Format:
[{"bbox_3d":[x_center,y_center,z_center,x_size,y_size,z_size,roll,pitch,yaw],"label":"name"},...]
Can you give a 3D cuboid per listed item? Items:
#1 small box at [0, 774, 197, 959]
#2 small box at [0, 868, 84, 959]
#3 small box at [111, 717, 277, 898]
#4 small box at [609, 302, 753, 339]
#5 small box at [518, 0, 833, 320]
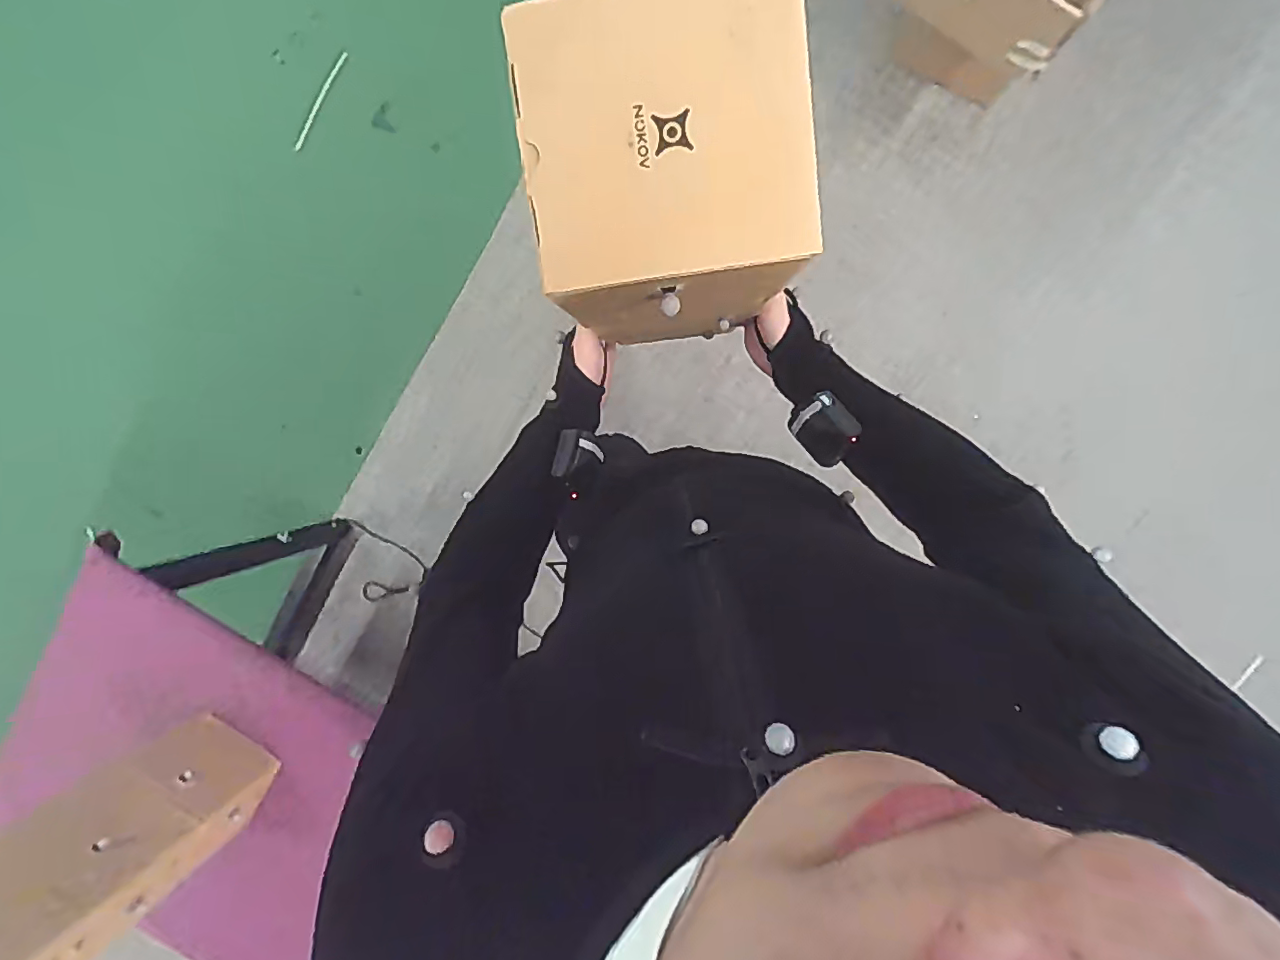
[{"bbox_3d":[-0.801,0.569,0.776,0.179,0.176,0.168,32,96,0],"label":"small box"},{"bbox_3d":[-0.816,0.586,0.612,0.179,0.176,0.168,31,97,0],"label":"small box"},{"bbox_3d":[-0.786,0.551,0.937,0.179,0.176,0.168,33,97,1],"label":"small box"},{"bbox_3d":[0.048,-0.284,0.718,0.179,0.176,0.168,-4,99,5],"label":"small box"},{"bbox_3d":[0.027,-0.219,0.399,0.179,0.176,0.168,-6,99,5],"label":"small box"}]
